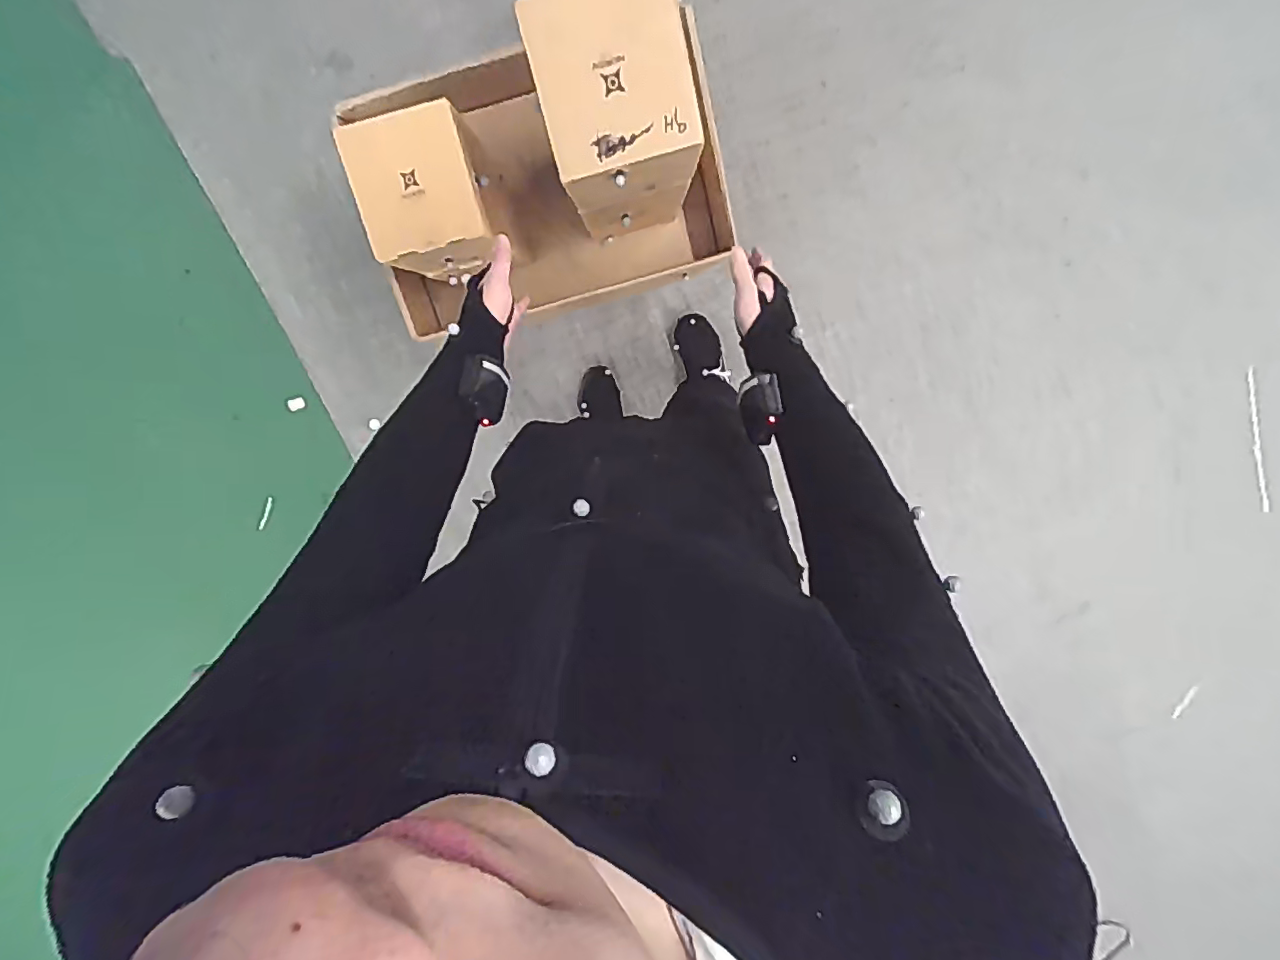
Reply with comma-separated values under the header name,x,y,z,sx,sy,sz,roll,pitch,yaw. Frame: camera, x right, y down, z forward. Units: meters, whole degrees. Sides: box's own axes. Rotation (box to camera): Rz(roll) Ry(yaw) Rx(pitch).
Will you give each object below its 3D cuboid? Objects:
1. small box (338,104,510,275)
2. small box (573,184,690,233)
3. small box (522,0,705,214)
name,x,y,z,sx,sy,sz,roll,pitch,yaw
small box,-0.314,-0.428,0.826,0.168,0.176,0.179,-13,106,3
small box,-0.027,-0.490,0.808,0.168,0.176,0.179,-13,106,4
small box,-0.026,-0.446,0.650,0.168,0.176,0.179,-13,105,5
